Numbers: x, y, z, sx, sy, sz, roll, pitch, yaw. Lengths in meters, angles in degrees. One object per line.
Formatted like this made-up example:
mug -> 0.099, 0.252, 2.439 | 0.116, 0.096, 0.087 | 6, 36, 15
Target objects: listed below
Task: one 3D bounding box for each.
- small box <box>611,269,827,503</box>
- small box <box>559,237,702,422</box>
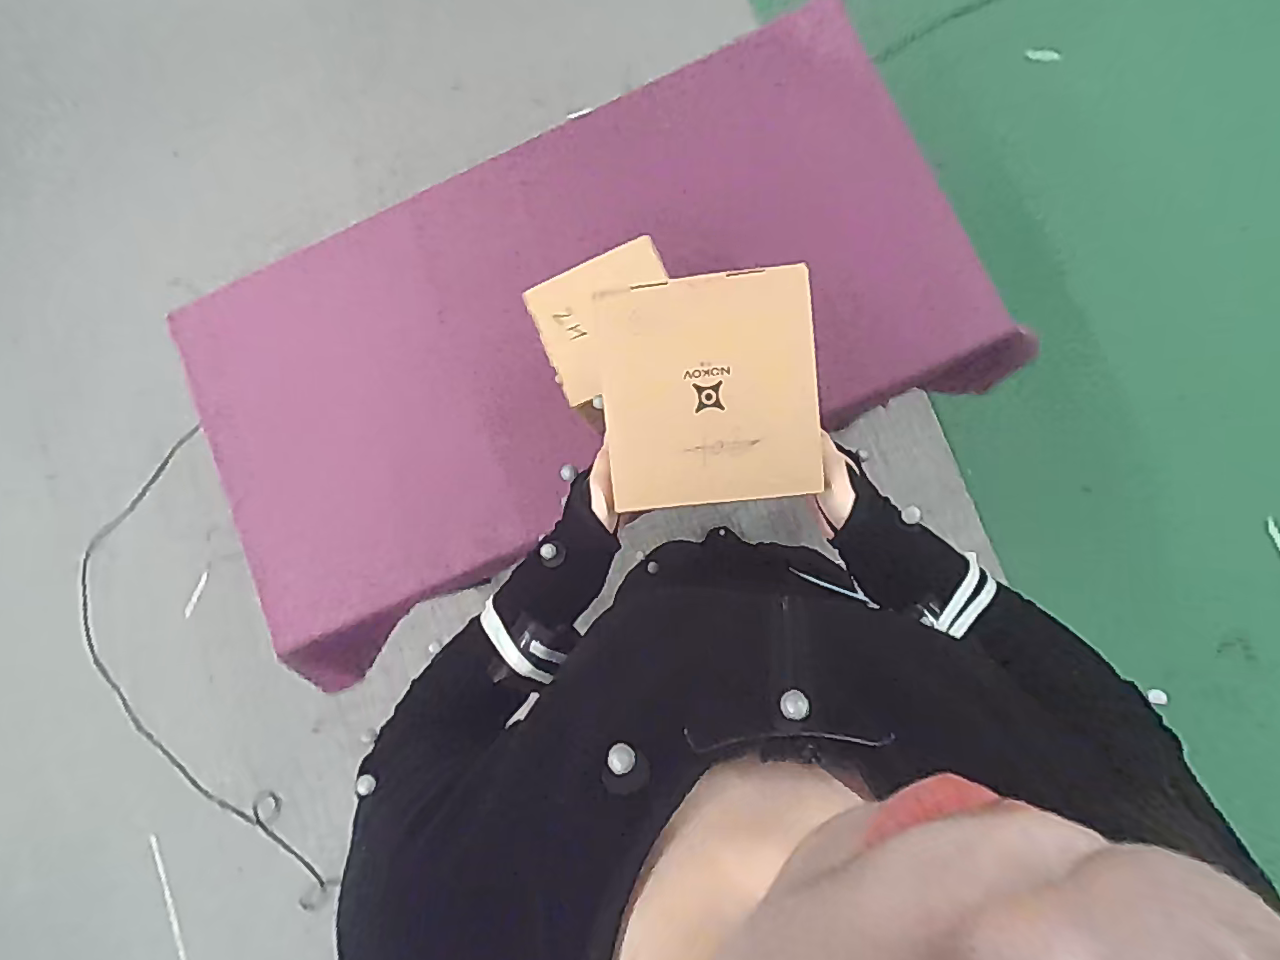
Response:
small box -> 0.067, -0.077, 0.500 | 0.168, 0.176, 0.179 | -3, 95, 6
small box -> 0.007, -0.194, 0.749 | 0.179, 0.176, 0.168 | -18, 82, 4
